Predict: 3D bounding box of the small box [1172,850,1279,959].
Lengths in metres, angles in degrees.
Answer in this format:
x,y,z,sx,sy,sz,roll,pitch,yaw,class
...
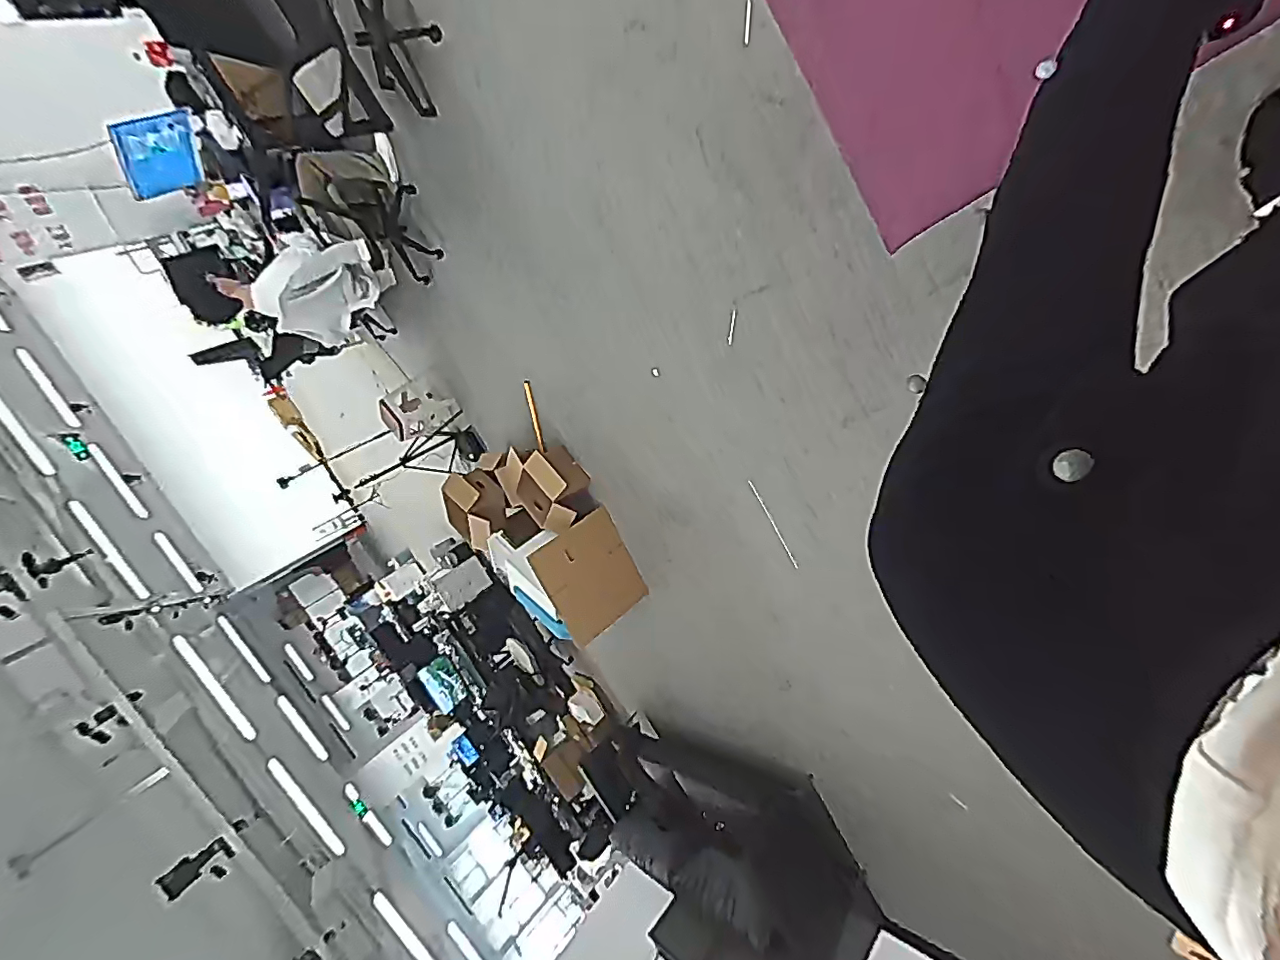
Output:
x,y,z,sx,sy,sz,roll,pitch,yaw,class
1.535,1.134,1.416,0.168,0.176,0.179,13,128,47,small box
